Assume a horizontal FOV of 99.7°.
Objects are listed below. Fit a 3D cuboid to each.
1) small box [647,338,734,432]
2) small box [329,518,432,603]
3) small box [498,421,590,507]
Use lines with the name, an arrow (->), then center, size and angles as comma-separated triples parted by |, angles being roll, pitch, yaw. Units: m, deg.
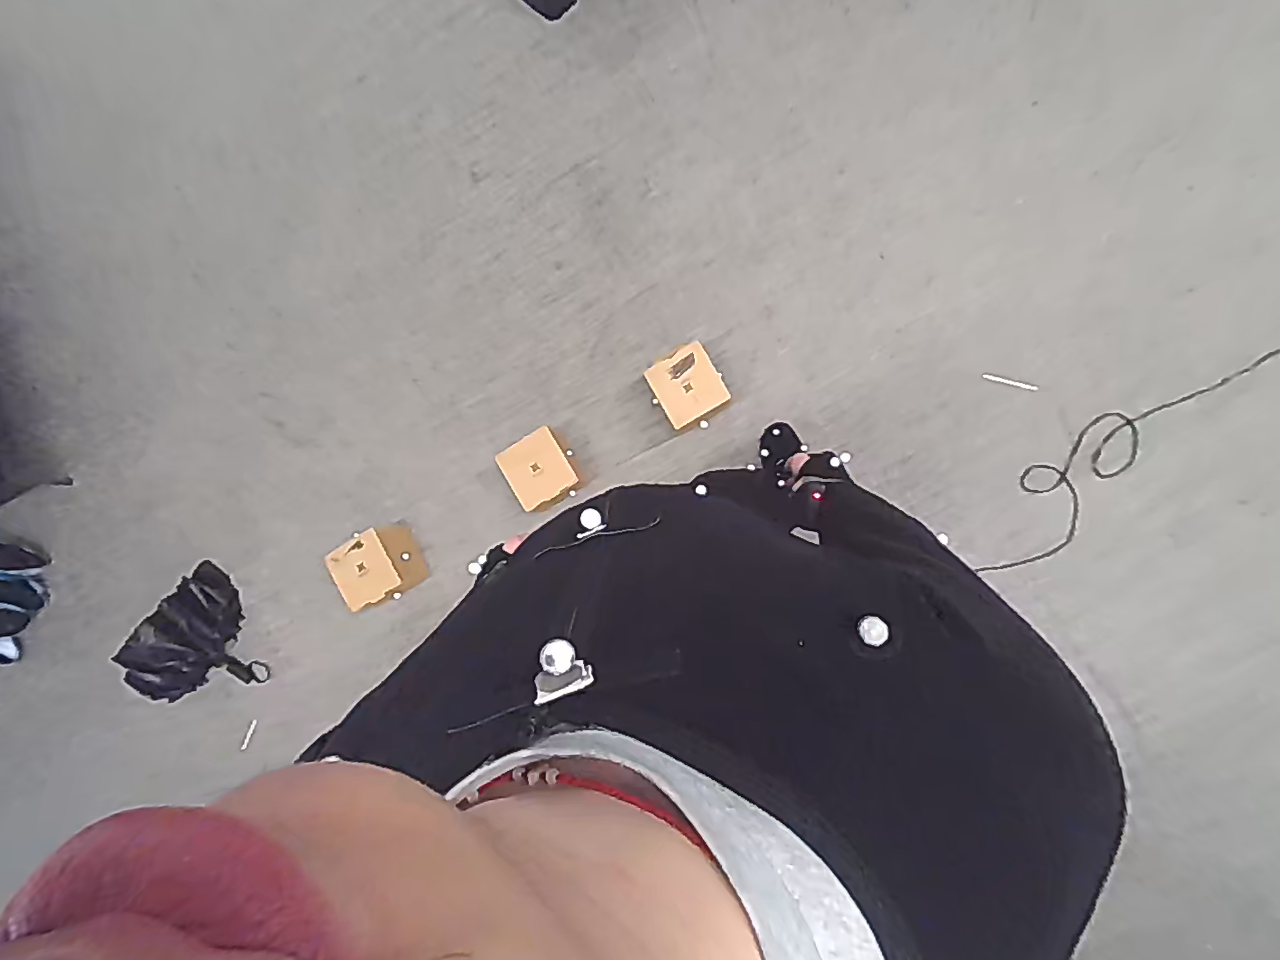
small box -> 0.136, -0.246, 1.446 | 0.168, 0.176, 0.179 | -29, 86, 6
small box -> -0.729, 0.222, 1.541 | 0.168, 0.176, 0.179 | -30, 86, 4
small box -> -0.257, -0.040, 1.493 | 0.168, 0.176, 0.179 | -31, 84, 4
